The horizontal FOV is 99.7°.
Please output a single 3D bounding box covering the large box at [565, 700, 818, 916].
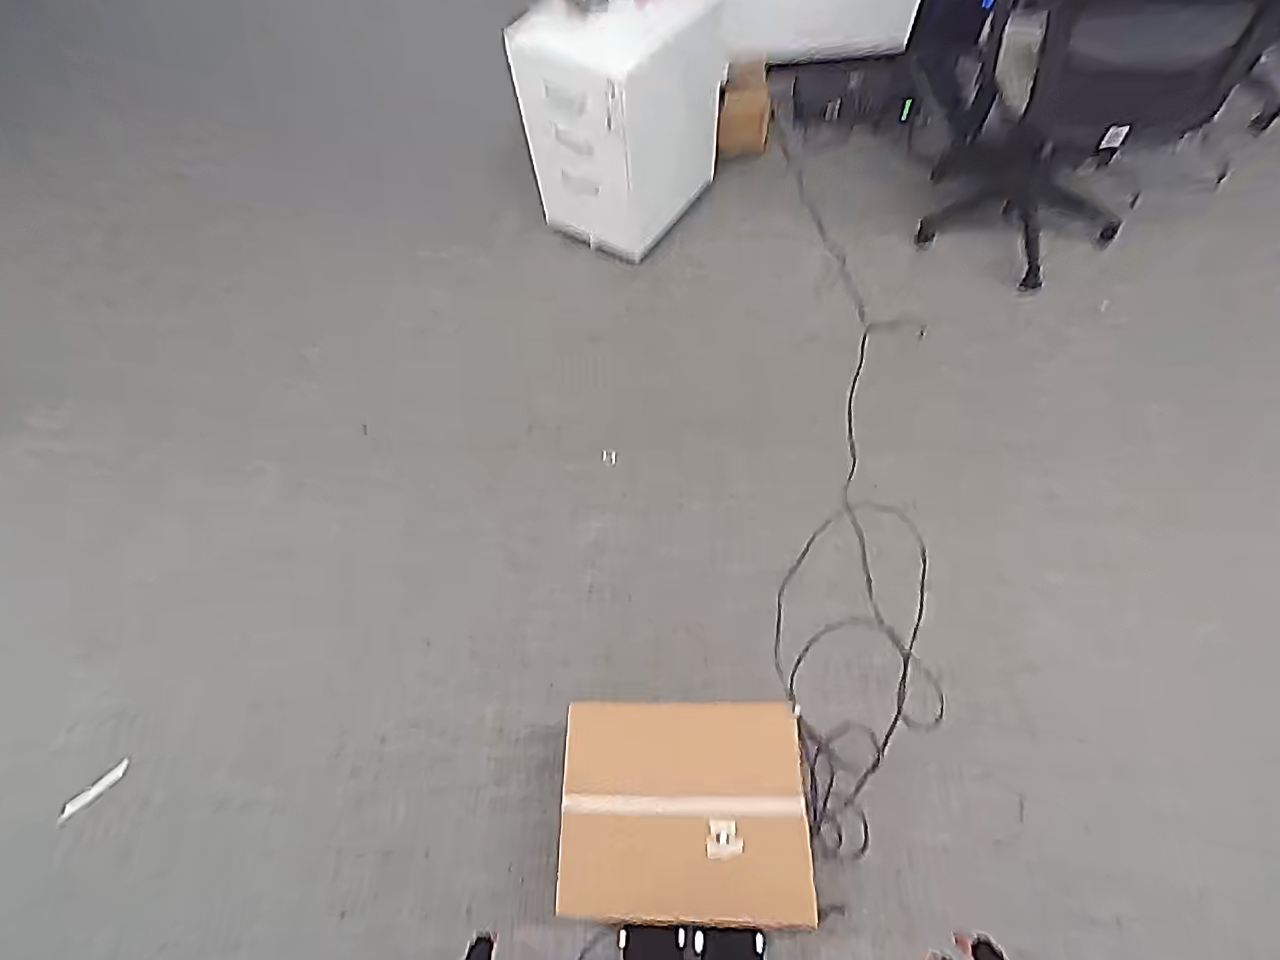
[{"bbox_3d":[0.087,0.607,1.039,0.408,0.320,0.320,-1,63,4],"label":"large box"}]
